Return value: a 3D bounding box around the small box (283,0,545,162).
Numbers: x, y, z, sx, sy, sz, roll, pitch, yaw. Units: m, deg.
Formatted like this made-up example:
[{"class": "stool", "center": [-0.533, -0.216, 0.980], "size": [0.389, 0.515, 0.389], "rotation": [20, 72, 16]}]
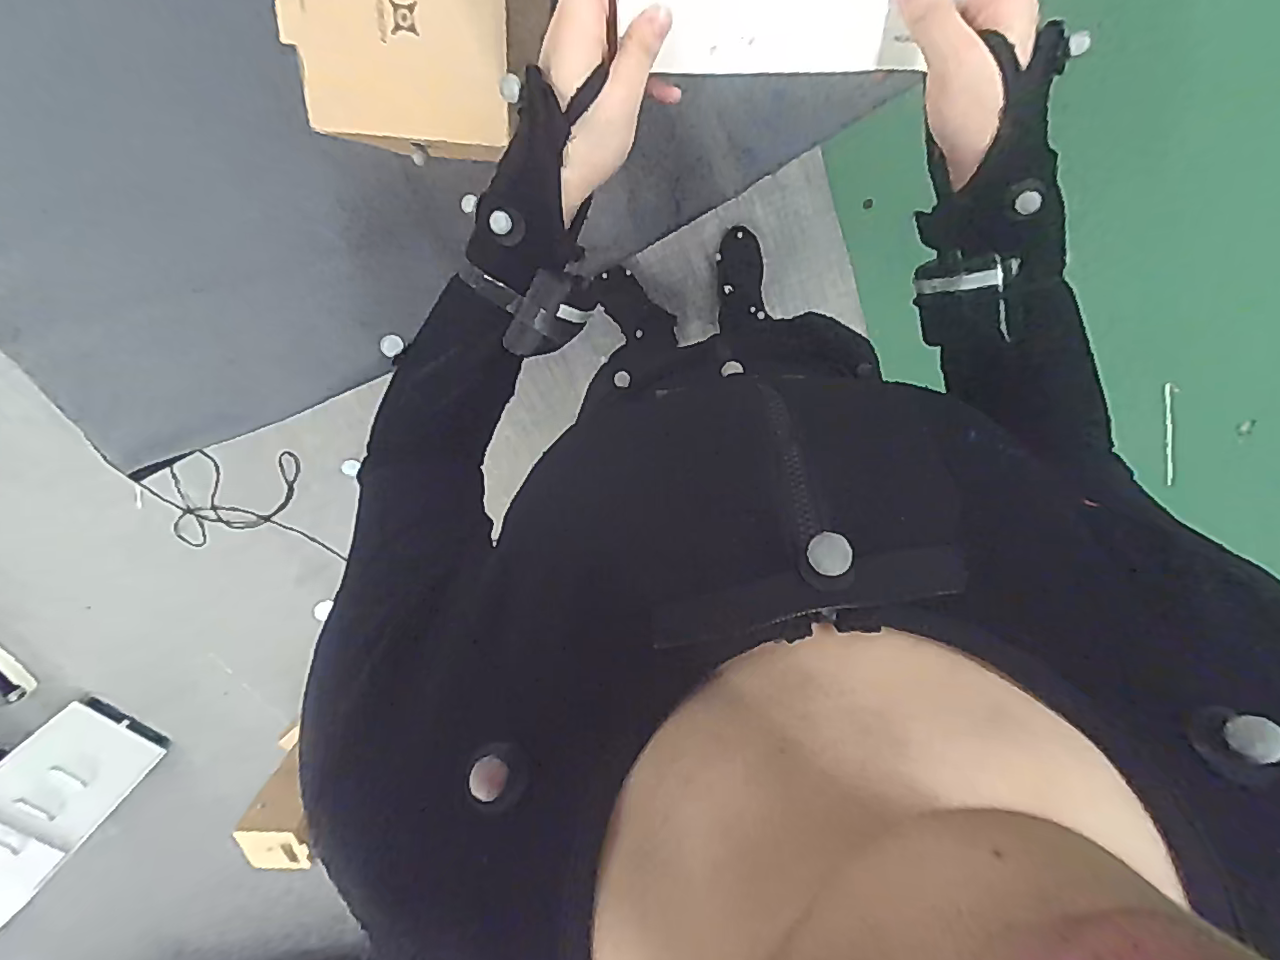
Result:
[{"class": "small box", "center": [-0.187, -0.395, 0.493], "size": [0.179, 0.176, 0.168], "rotation": [6, 117, 2]}]
